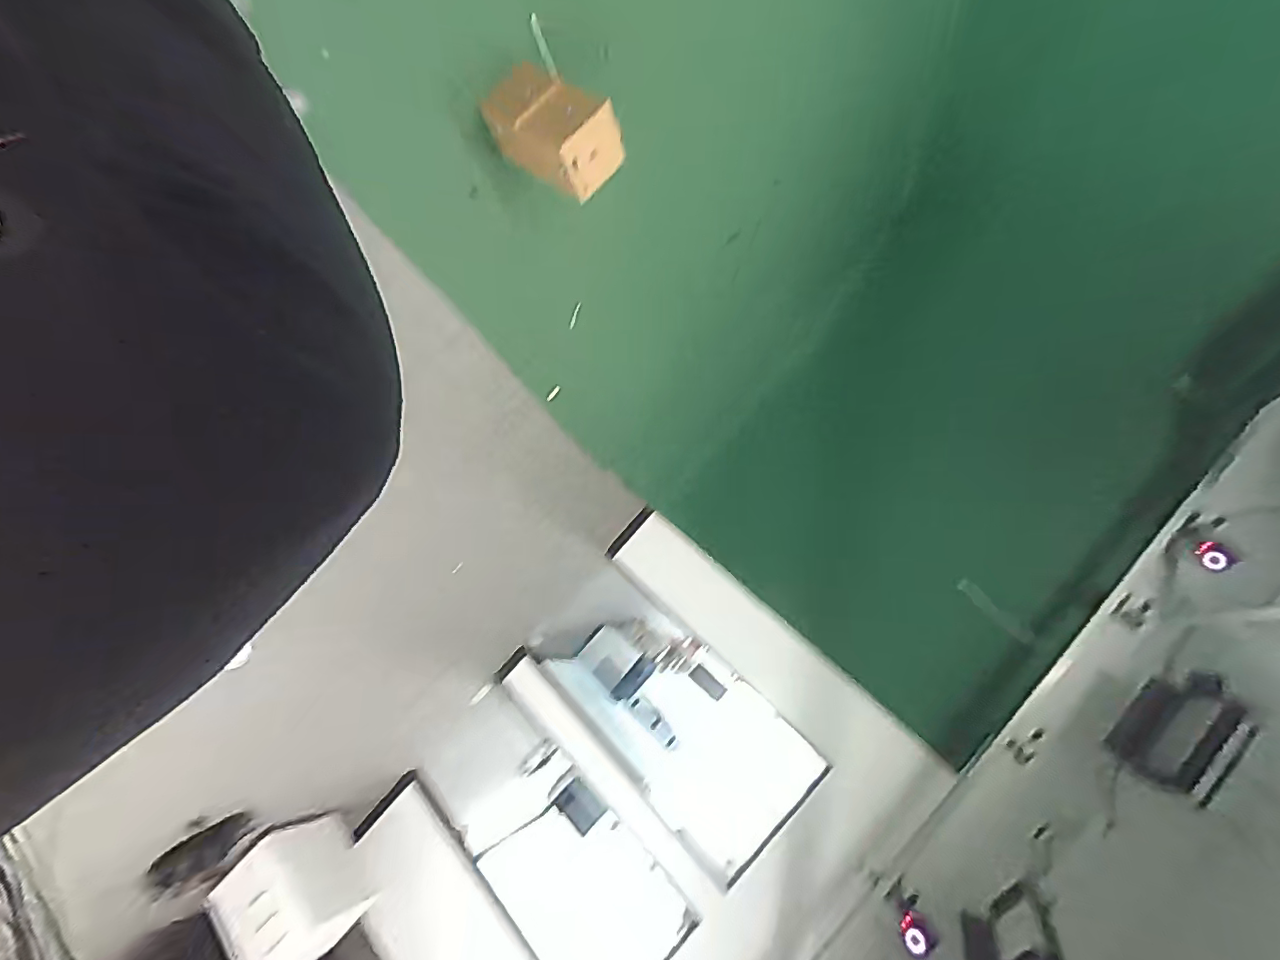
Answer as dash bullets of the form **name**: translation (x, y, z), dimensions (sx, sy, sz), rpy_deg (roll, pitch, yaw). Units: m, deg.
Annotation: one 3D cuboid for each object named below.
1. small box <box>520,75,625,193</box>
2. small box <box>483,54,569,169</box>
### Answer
- **small box**: translation (-0.172, -0.893, 1.389), dimensions (0.179, 0.176, 0.168), rpy_deg (-49, 157, -5)
- **small box**: translation (-0.280, -0.979, 1.434), dimensions (0.179, 0.176, 0.168), rpy_deg (-46, 156, -7)
